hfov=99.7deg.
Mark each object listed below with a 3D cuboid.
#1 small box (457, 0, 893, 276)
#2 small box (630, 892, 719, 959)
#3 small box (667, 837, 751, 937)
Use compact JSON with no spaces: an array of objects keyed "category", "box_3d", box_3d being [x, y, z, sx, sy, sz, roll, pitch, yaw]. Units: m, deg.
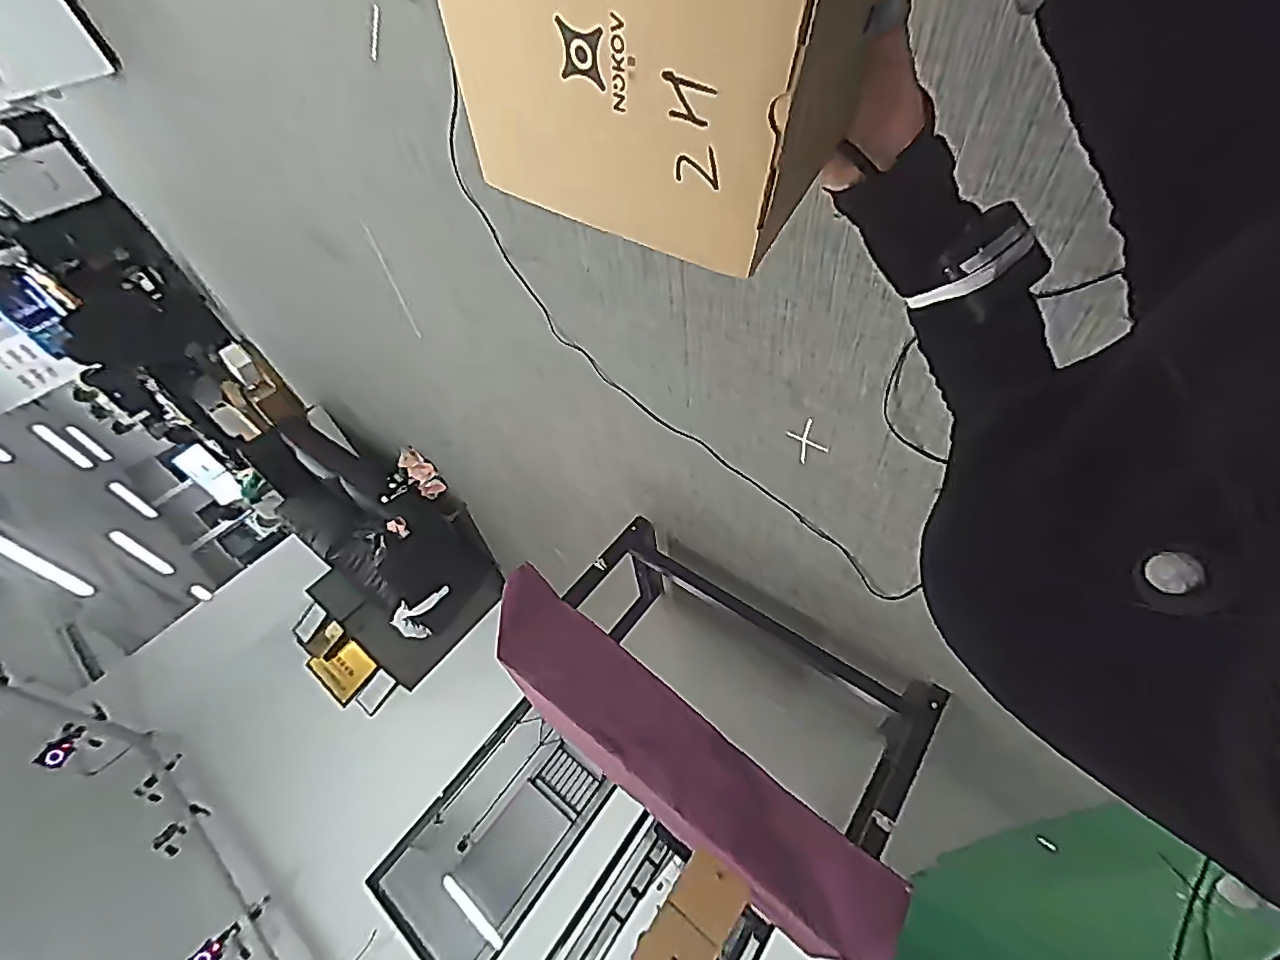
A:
[{"category":"small box","box_3d":[0.026,-0.248,0.279,0.179,0.176,0.168,26,155,13]},{"category":"small box","box_3d":[0.100,1.274,1.488,0.179,0.176,0.168,26,148,29]},{"category":"small box","box_3d":[0.202,1.169,1.563,0.179,0.176,0.168,27,149,30]}]
